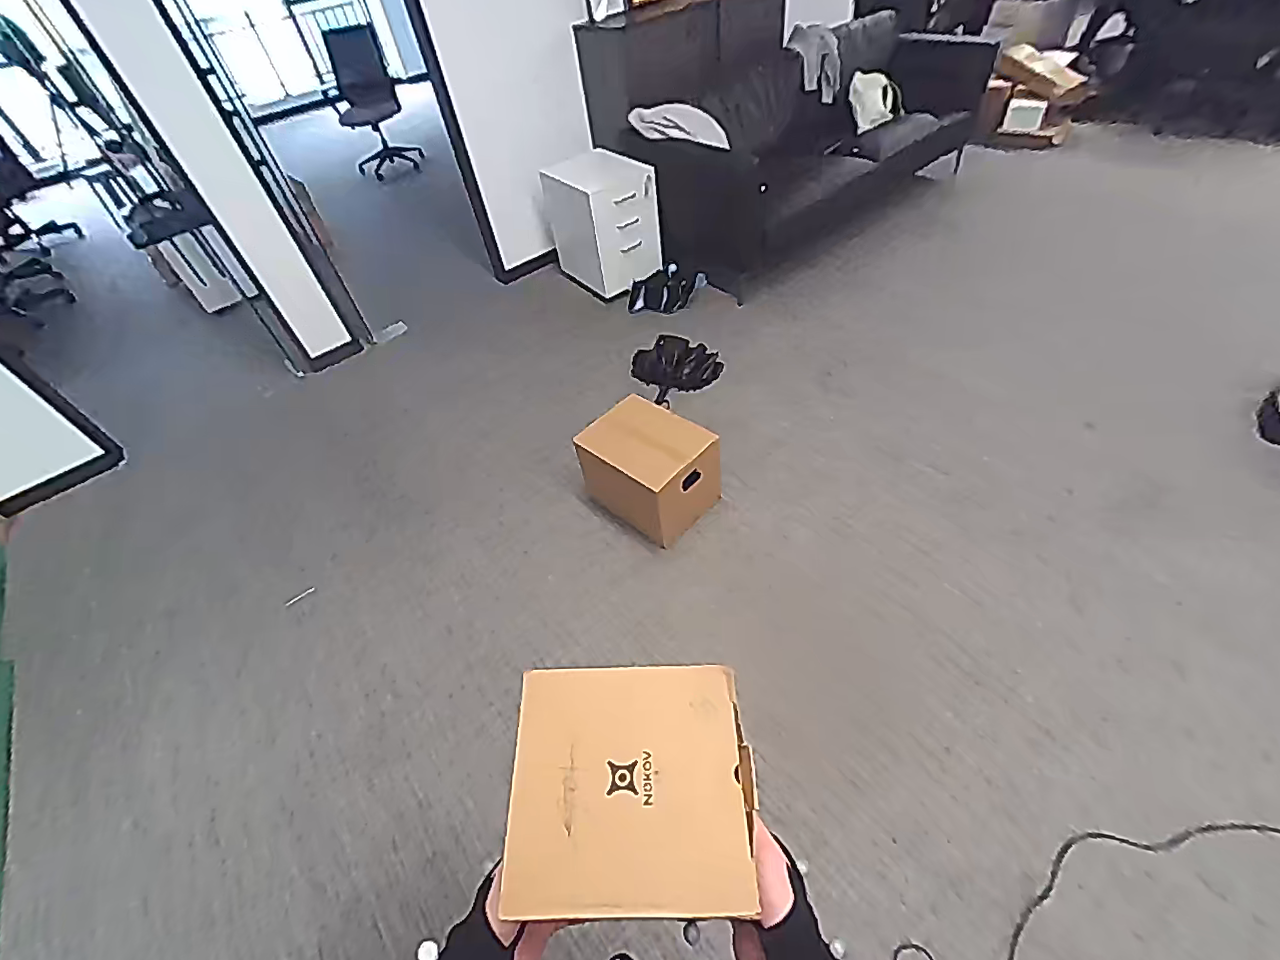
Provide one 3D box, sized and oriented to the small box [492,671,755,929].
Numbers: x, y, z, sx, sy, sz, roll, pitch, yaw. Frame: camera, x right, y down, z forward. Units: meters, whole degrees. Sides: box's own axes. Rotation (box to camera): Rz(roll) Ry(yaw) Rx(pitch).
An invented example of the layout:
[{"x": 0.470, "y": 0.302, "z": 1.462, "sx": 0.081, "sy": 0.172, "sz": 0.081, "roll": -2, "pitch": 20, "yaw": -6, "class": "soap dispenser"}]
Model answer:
[{"x": -0.008, "y": 0.275, "z": 0.464, "sx": 0.179, "sy": 0.176, "sz": 0.168, "roll": -3, "pitch": 51, "yaw": 2, "class": "small box"}]
